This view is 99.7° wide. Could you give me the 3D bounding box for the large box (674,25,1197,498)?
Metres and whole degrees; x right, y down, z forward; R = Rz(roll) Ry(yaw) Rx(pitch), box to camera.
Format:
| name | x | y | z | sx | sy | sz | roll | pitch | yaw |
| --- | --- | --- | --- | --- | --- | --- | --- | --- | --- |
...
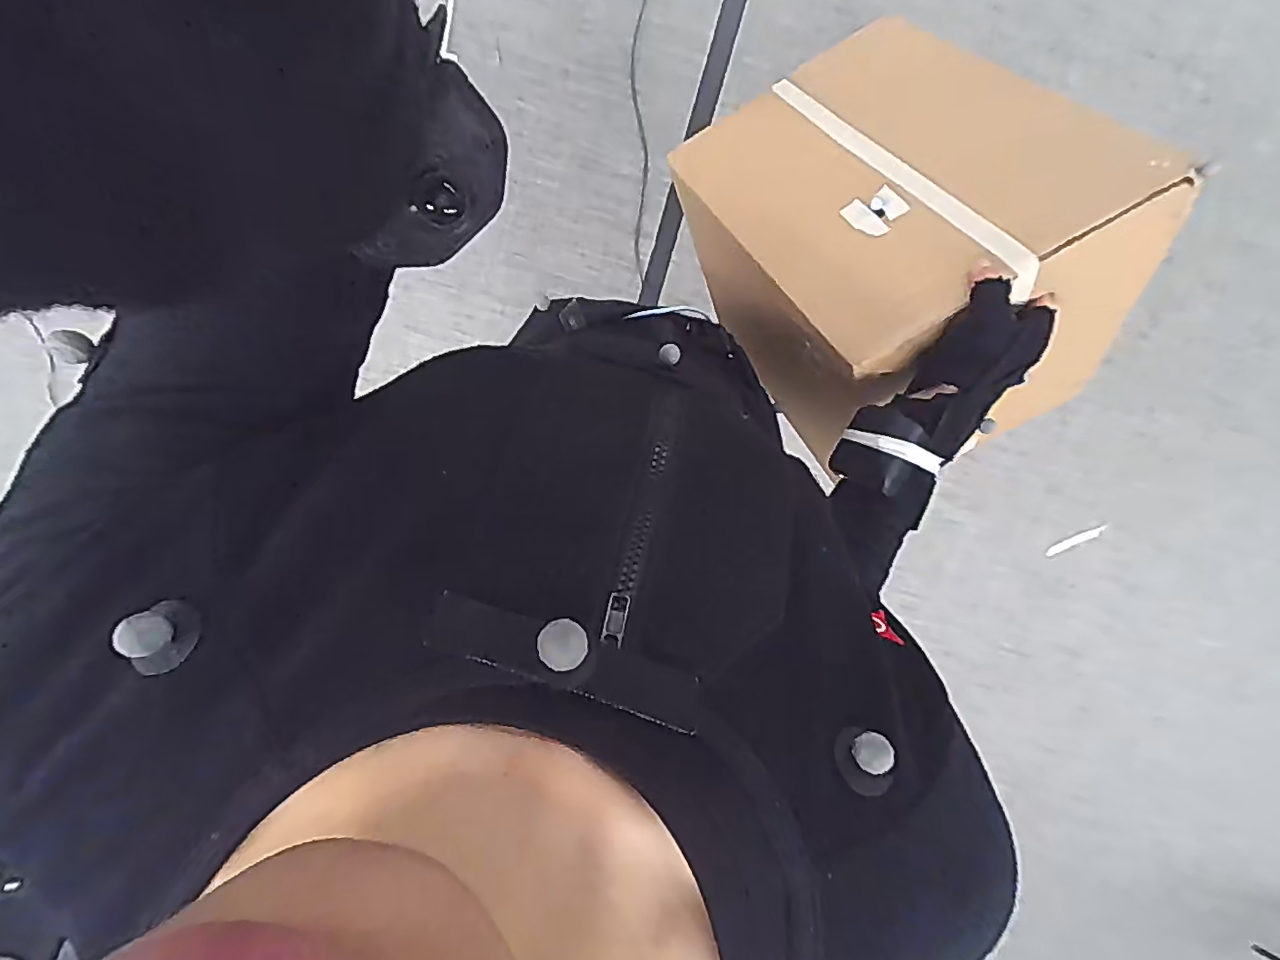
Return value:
| name | x | y | z | sx | sy | sz | roll | pitch | yaw |
| --- | --- | --- | --- | --- | --- | --- | --- | --- | --- |
| large box | 0.293 | -0.257 | 0.679 | 0.320 | 0.320 | 0.408 | -30 | 58 | 6 |
